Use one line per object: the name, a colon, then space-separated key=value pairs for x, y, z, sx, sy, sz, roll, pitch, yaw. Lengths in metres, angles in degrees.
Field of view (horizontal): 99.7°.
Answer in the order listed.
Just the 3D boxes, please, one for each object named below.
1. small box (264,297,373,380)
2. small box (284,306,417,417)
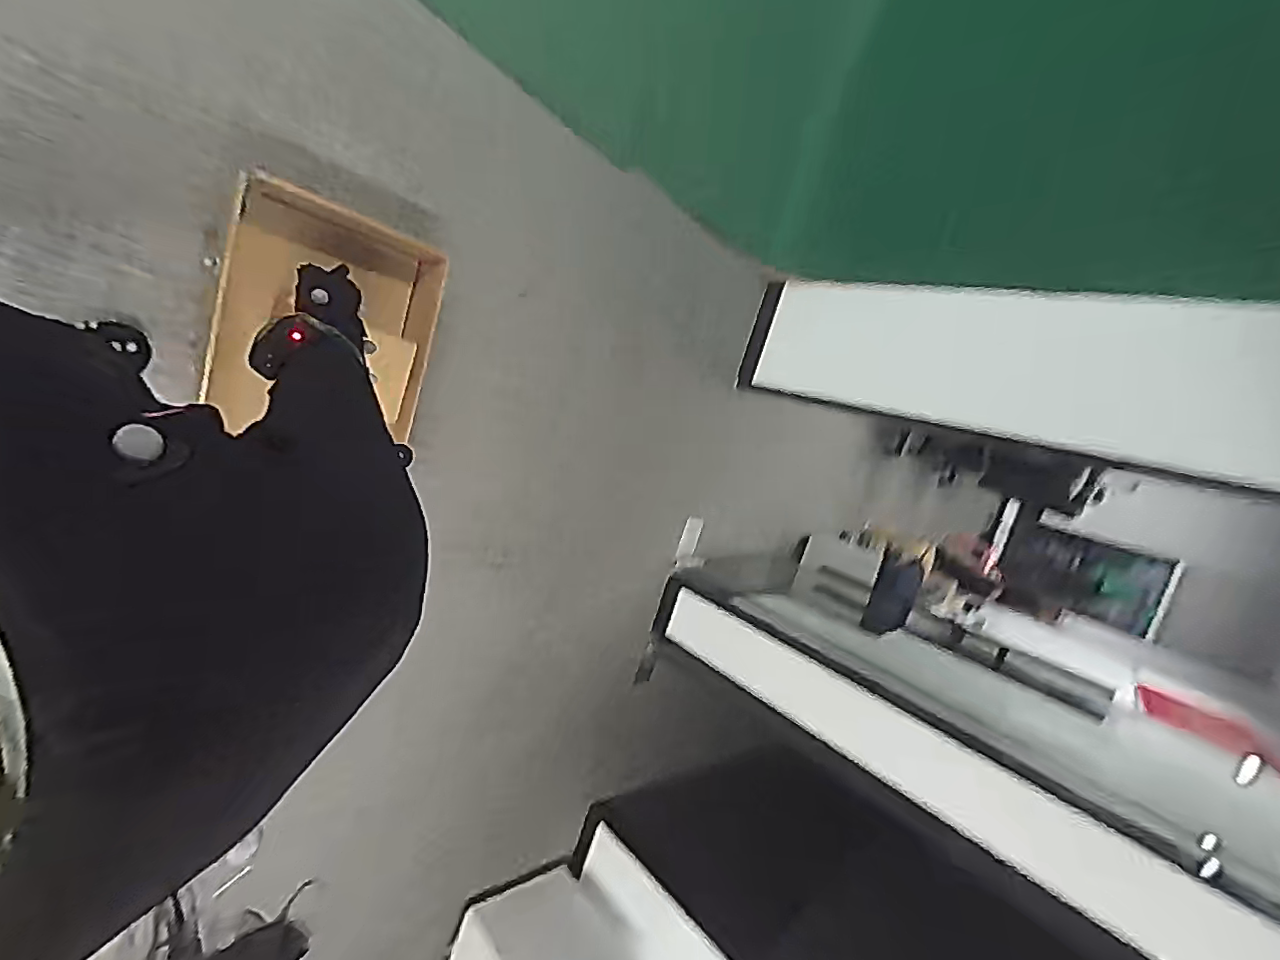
small box: x=-0.684 y=-0.287 z=1.167 sx=0.179 sy=0.176 sz=0.168 roll=10 pitch=100 yaw=-48
small box: x=-0.565 y=-0.231 z=1.046 sx=0.179 sy=0.176 sz=0.168 roll=6 pitch=103 yaw=-46
